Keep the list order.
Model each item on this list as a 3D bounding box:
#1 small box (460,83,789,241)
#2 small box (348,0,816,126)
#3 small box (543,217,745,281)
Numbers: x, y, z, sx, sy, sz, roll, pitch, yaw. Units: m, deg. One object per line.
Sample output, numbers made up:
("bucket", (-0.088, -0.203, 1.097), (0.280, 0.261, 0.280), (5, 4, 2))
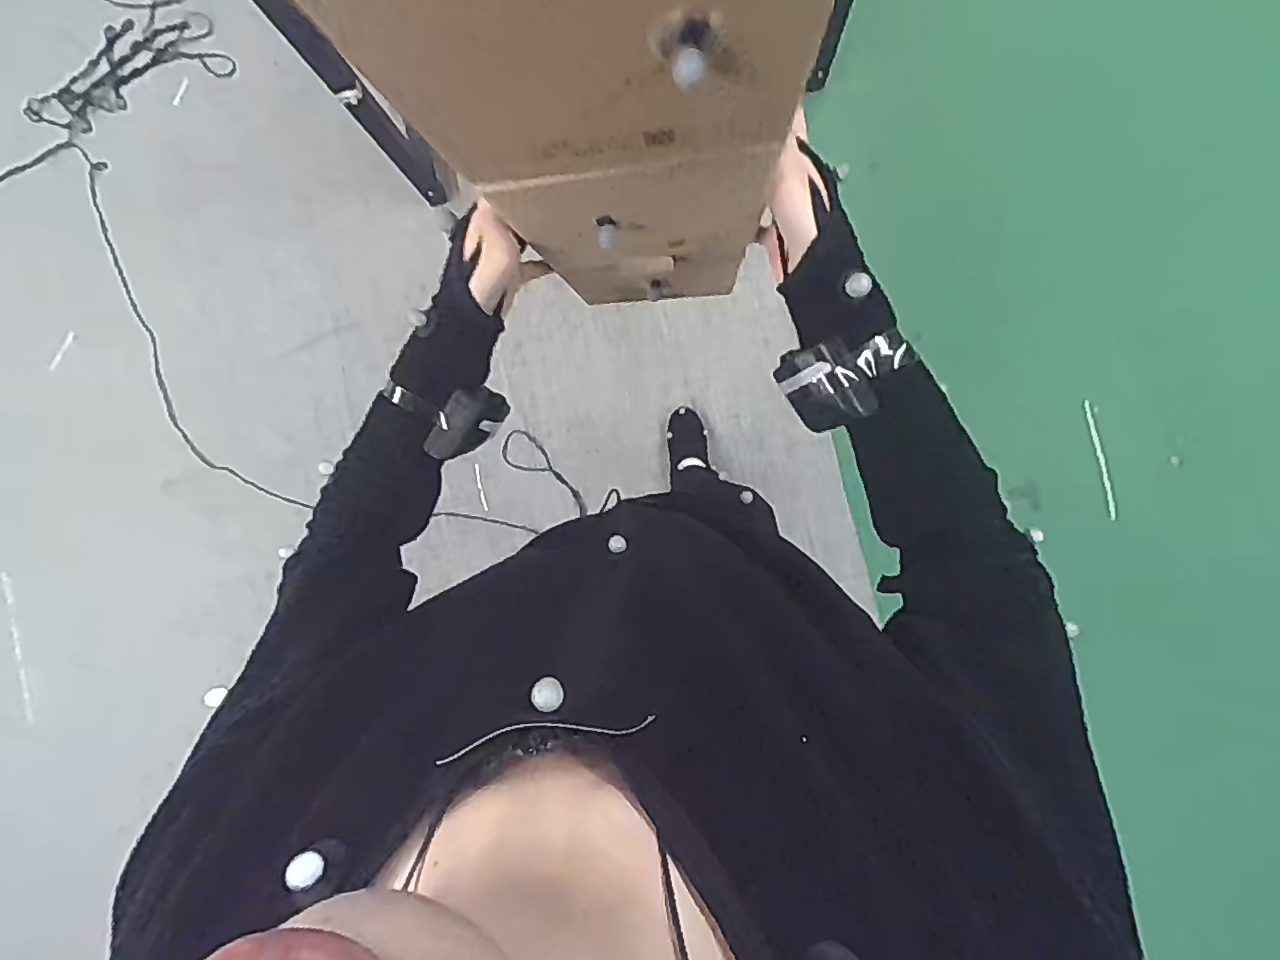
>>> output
("small box", (-0.008, -0.263, 0.334), (0.168, 0.176, 0.179), (-6, 96, 6))
("small box", (-0.021, -0.244, 0.173), (0.168, 0.176, 0.179), (-3, 96, 5))
("small box", (0.006, -0.288, 0.495), (0.168, 0.176, 0.179), (-3, 98, 5))
